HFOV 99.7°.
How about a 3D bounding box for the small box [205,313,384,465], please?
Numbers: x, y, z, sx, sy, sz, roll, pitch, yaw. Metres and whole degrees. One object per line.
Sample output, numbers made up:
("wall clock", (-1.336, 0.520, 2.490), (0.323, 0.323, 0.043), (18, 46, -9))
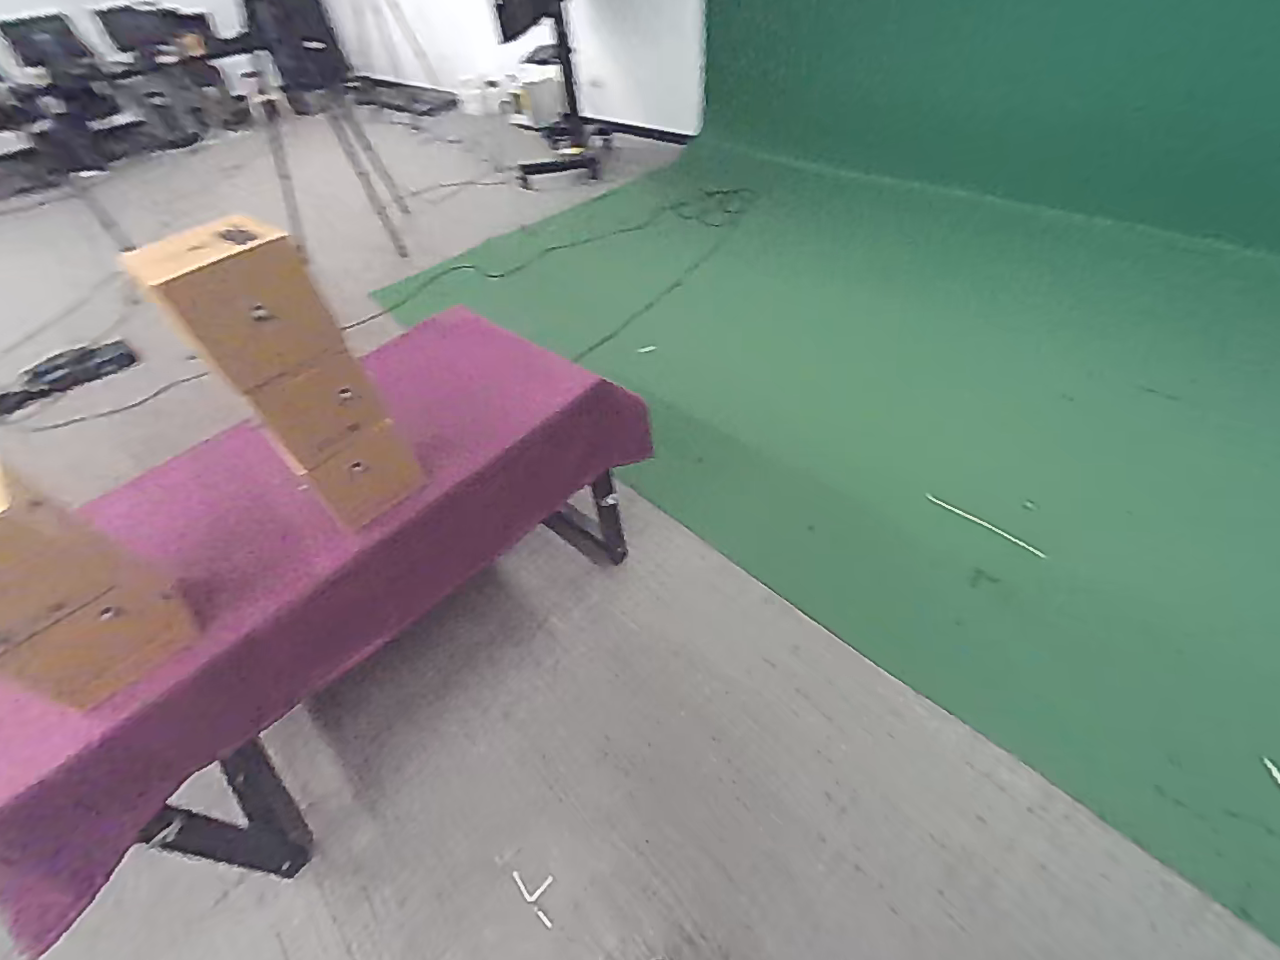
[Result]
("small box", (-0.570, -0.149, 0.913), (0.179, 0.176, 0.168), (31, 57, 31))

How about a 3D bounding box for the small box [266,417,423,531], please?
("small box", (-0.552, -0.035, 1.028), (0.168, 0.176, 0.179), (34, 59, 31))

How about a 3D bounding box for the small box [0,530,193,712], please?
("small box", (-0.853, 0.218, 0.831), (0.168, 0.176, 0.179), (31, 57, 31))

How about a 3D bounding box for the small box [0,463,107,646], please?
("small box", (-0.867, 0.104, 0.713), (0.179, 0.176, 0.168), (30, 56, 32))
